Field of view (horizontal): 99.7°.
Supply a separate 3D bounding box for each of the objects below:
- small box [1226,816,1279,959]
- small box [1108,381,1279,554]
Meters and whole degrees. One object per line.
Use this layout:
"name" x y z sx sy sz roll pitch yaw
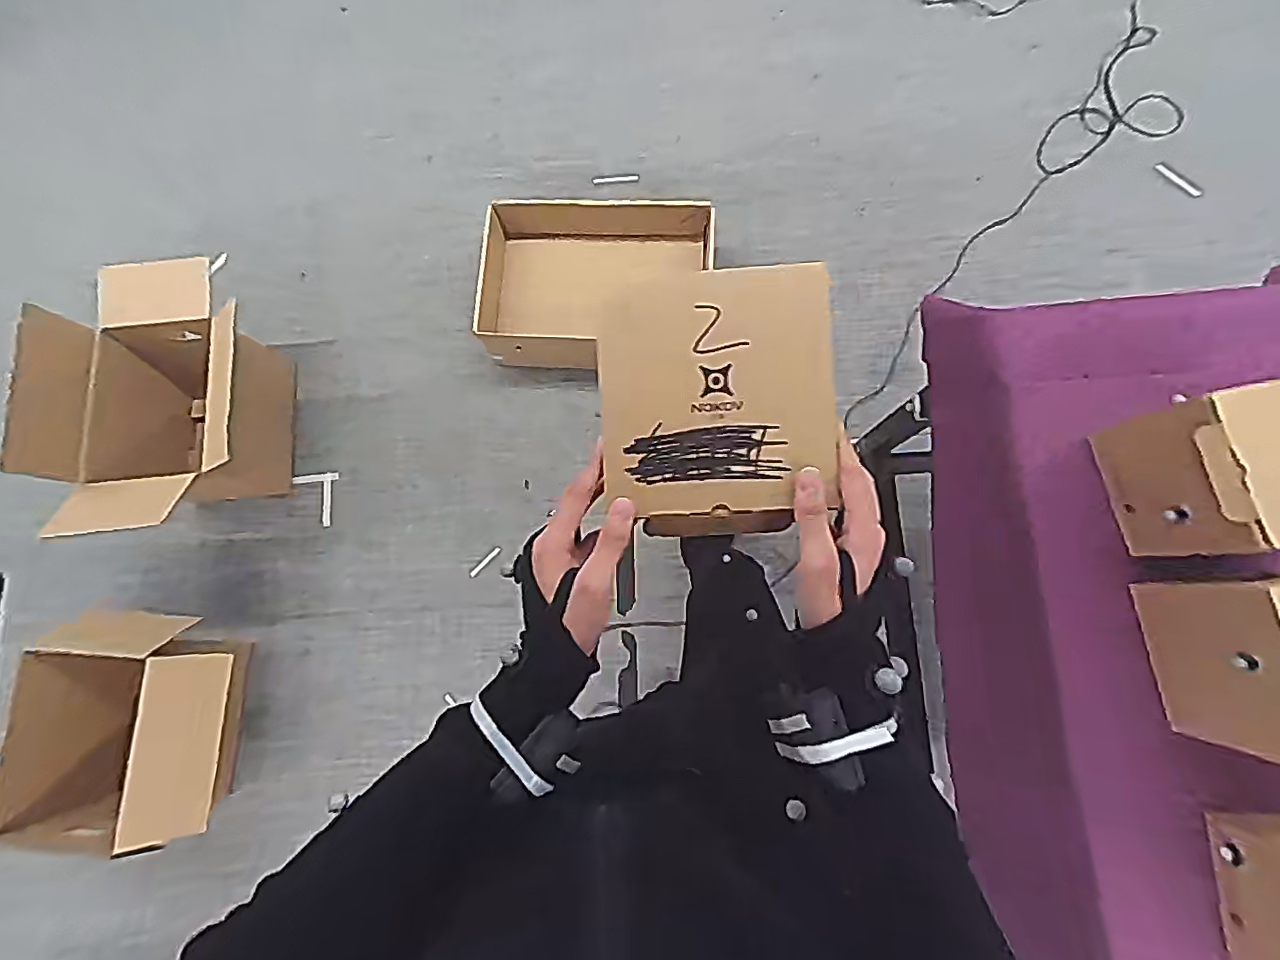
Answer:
"small box" 0.738 0.451 0.525 0.179 0.176 0.168 0 80 4
"small box" 0.687 -0.011 0.613 0.179 0.176 0.168 -11 80 2
